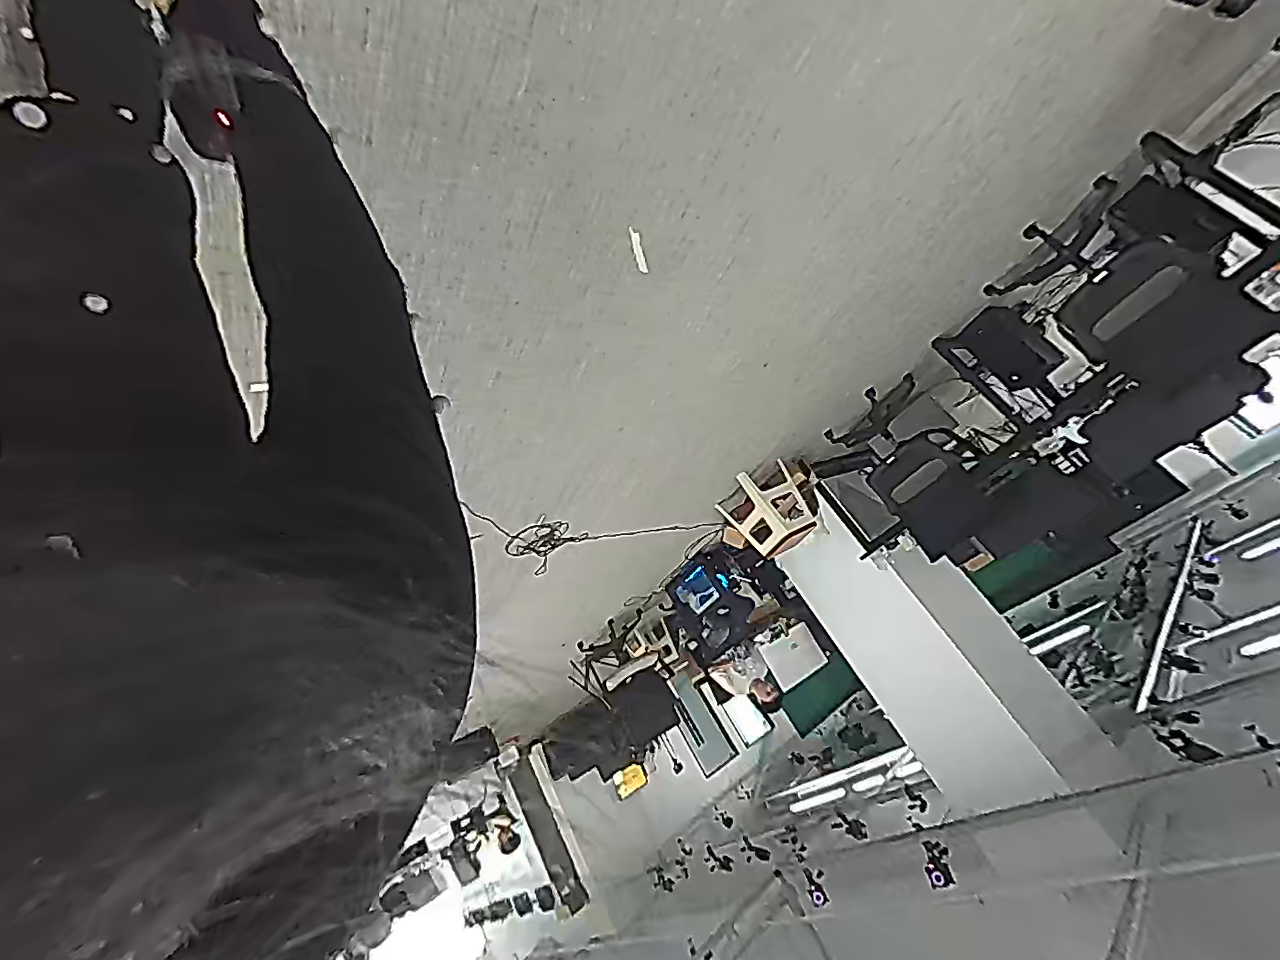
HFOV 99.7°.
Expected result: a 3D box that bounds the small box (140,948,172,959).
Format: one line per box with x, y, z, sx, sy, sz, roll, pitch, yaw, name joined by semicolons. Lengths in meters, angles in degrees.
-1.507;1.547;1.617;0.168;0.176;0.179;-12;149;-41;small box
